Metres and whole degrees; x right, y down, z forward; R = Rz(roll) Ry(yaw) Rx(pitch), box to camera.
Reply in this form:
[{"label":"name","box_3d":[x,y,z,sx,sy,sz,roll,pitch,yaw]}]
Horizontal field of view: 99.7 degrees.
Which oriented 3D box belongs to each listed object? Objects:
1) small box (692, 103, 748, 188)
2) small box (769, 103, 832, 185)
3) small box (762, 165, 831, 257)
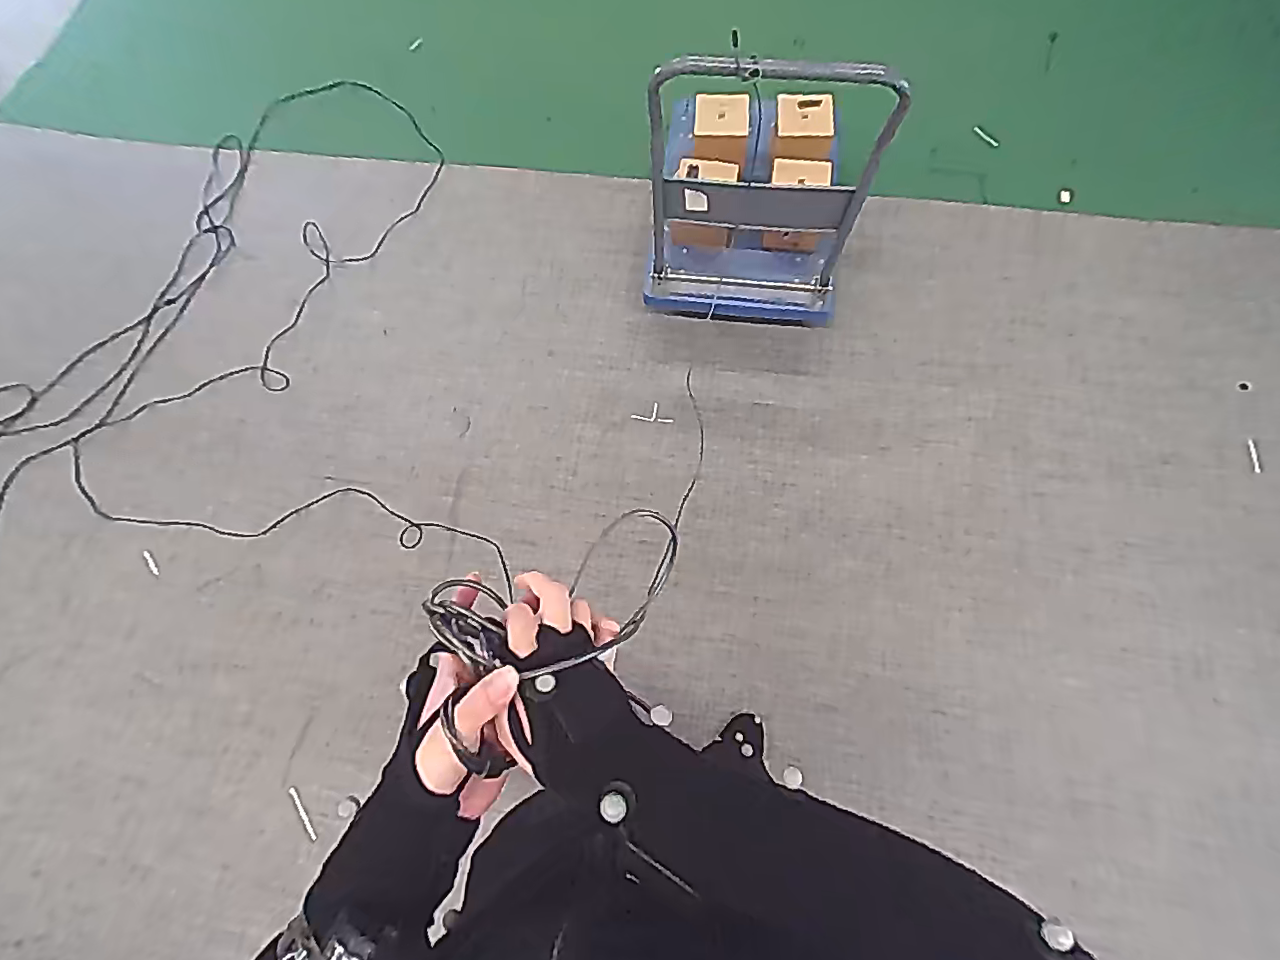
[{"label":"small box","box_3d":[0.254,-1.072,1.742,0.168,0.176,0.179,3,70,4]},{"label":"small box","box_3d":[0.505,-1.061,1.722,0.168,0.176,0.179,3,71,5]},{"label":"small box","box_3d":[0.467,-0.809,1.631,0.168,0.176,0.179,7,71,6]}]
